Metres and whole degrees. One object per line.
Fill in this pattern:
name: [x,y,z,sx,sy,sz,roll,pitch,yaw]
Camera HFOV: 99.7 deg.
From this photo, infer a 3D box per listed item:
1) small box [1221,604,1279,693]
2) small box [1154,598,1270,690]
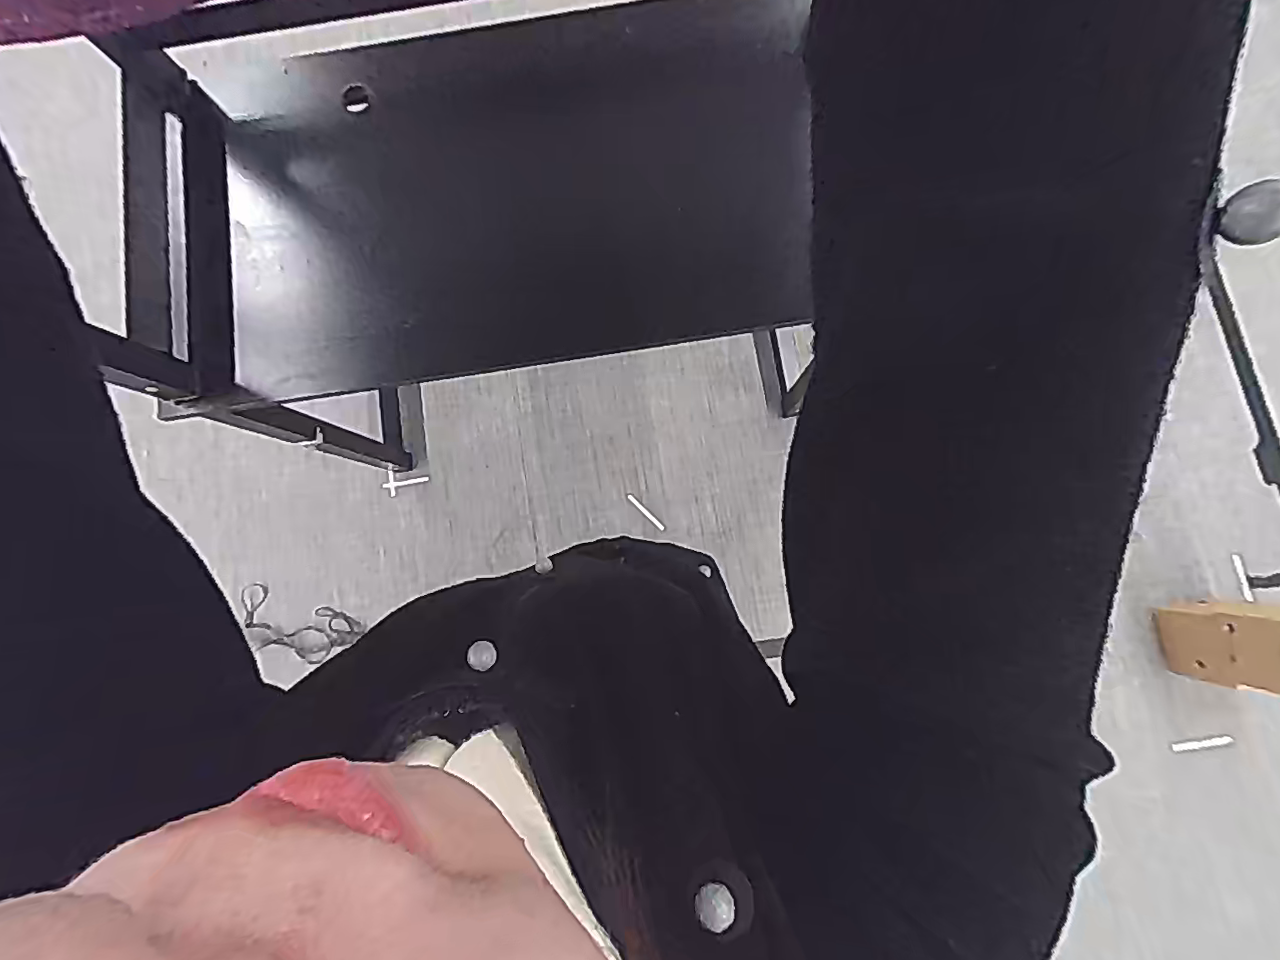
small box: [1.434,0.369,1.176,0.179,0.176,0.168,-7,83,0]
small box: [1.445,0.398,1.337,0.168,0.176,0.179,-10,83,1]
